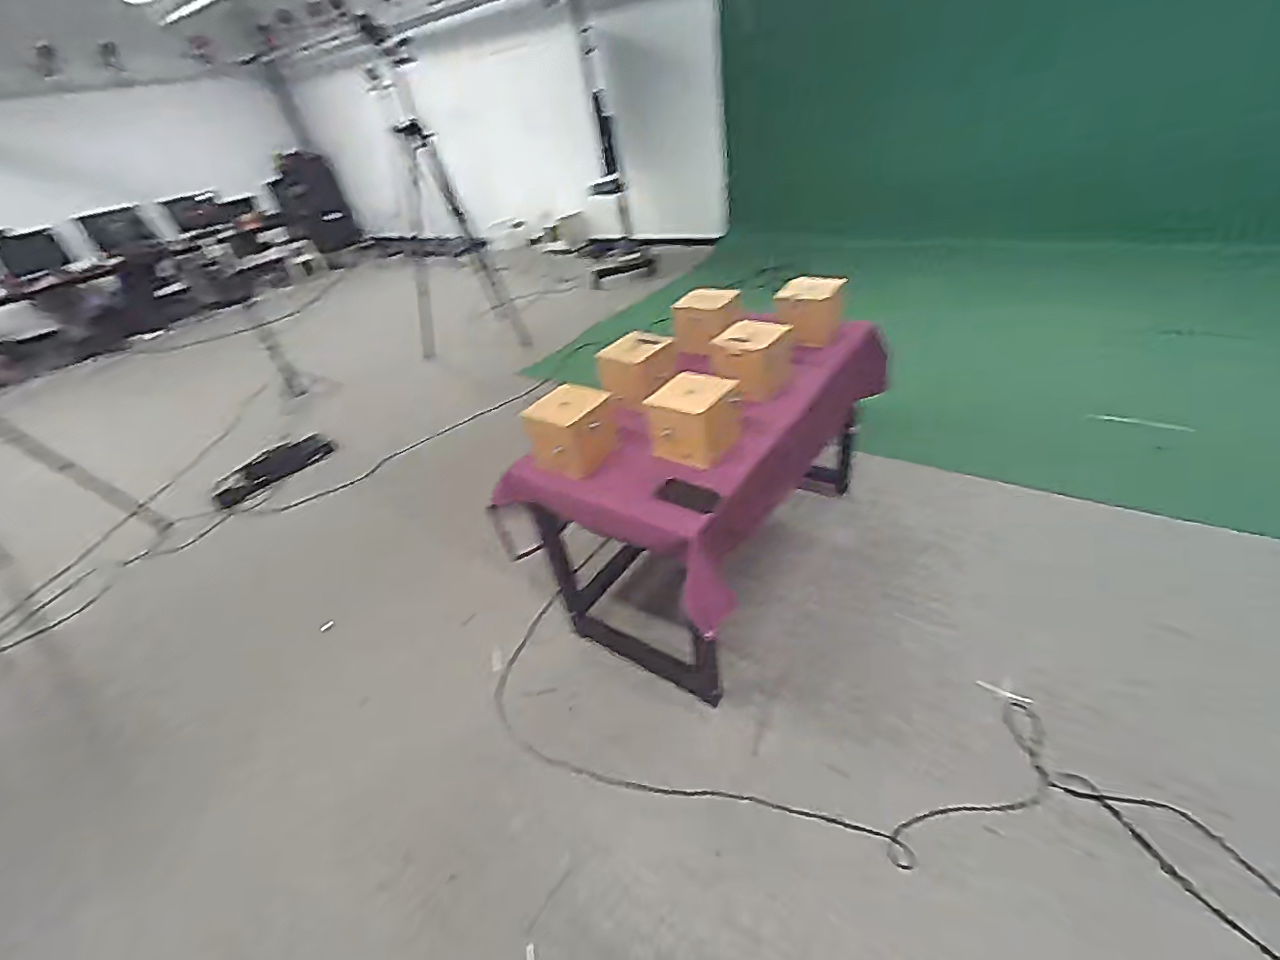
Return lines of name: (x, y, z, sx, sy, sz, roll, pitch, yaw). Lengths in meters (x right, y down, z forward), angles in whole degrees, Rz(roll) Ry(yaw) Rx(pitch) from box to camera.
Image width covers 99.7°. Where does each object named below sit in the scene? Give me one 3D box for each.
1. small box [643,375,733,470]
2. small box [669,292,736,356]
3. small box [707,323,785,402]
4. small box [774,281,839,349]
small box: (0.133, -0.149, 1.396, 0.168, 0.176, 0.179, 18, 44, 34)
small box: (0.224, -0.549, 1.906, 0.179, 0.176, 0.168, 15, 44, 30)
small box: (0.323, -0.350, 1.615, 0.168, 0.176, 0.179, 20, 45, 35)
small box: (0.563, -0.563, 1.838, 0.168, 0.176, 0.179, 16, 44, 32)
